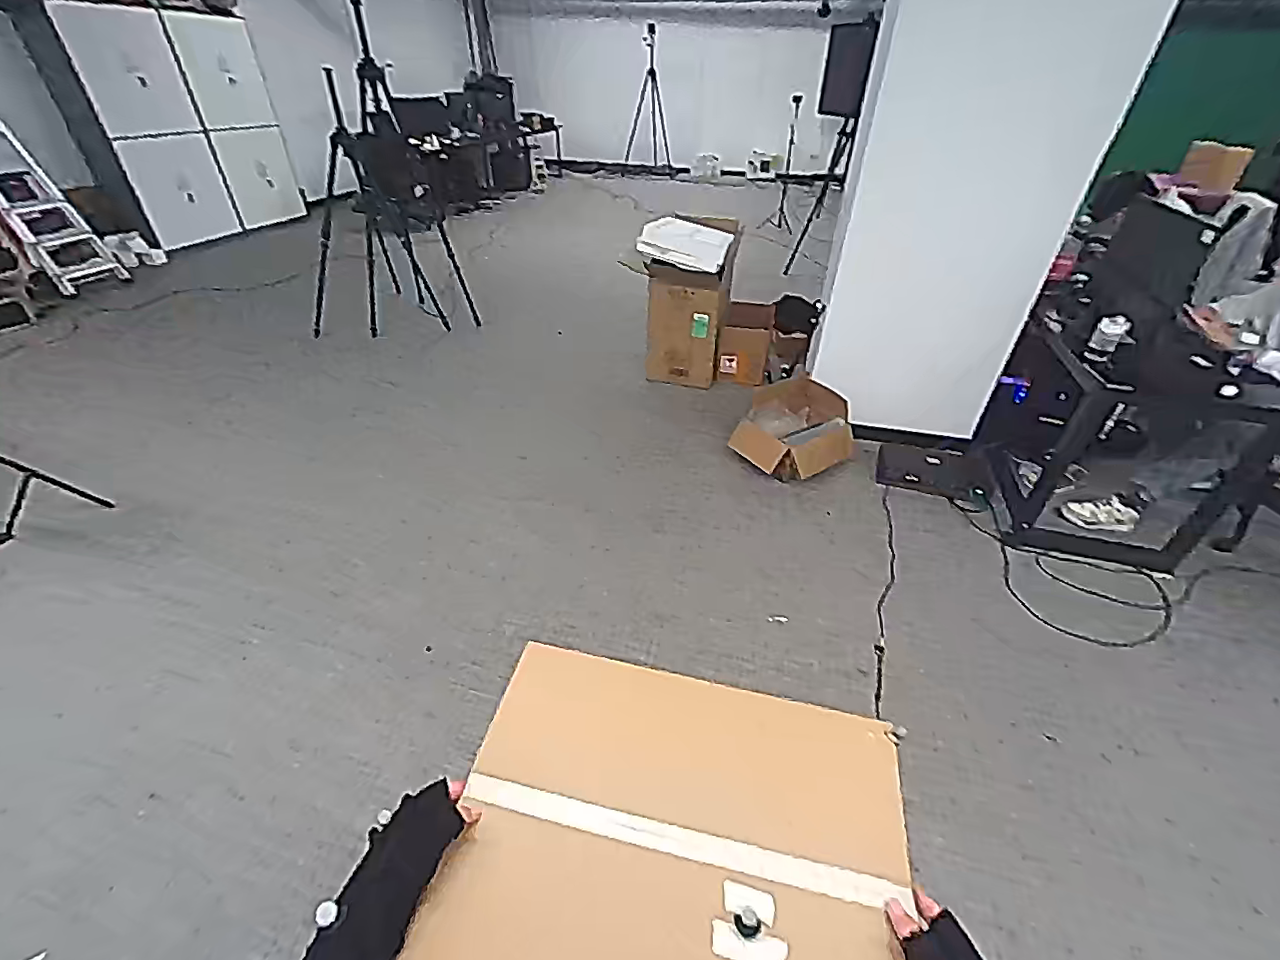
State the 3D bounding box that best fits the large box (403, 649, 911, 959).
[{"bbox_3d":[0.027,0.437,0.590,0.408,0.320,0.320,11,43,8],"label":"large box"}]
